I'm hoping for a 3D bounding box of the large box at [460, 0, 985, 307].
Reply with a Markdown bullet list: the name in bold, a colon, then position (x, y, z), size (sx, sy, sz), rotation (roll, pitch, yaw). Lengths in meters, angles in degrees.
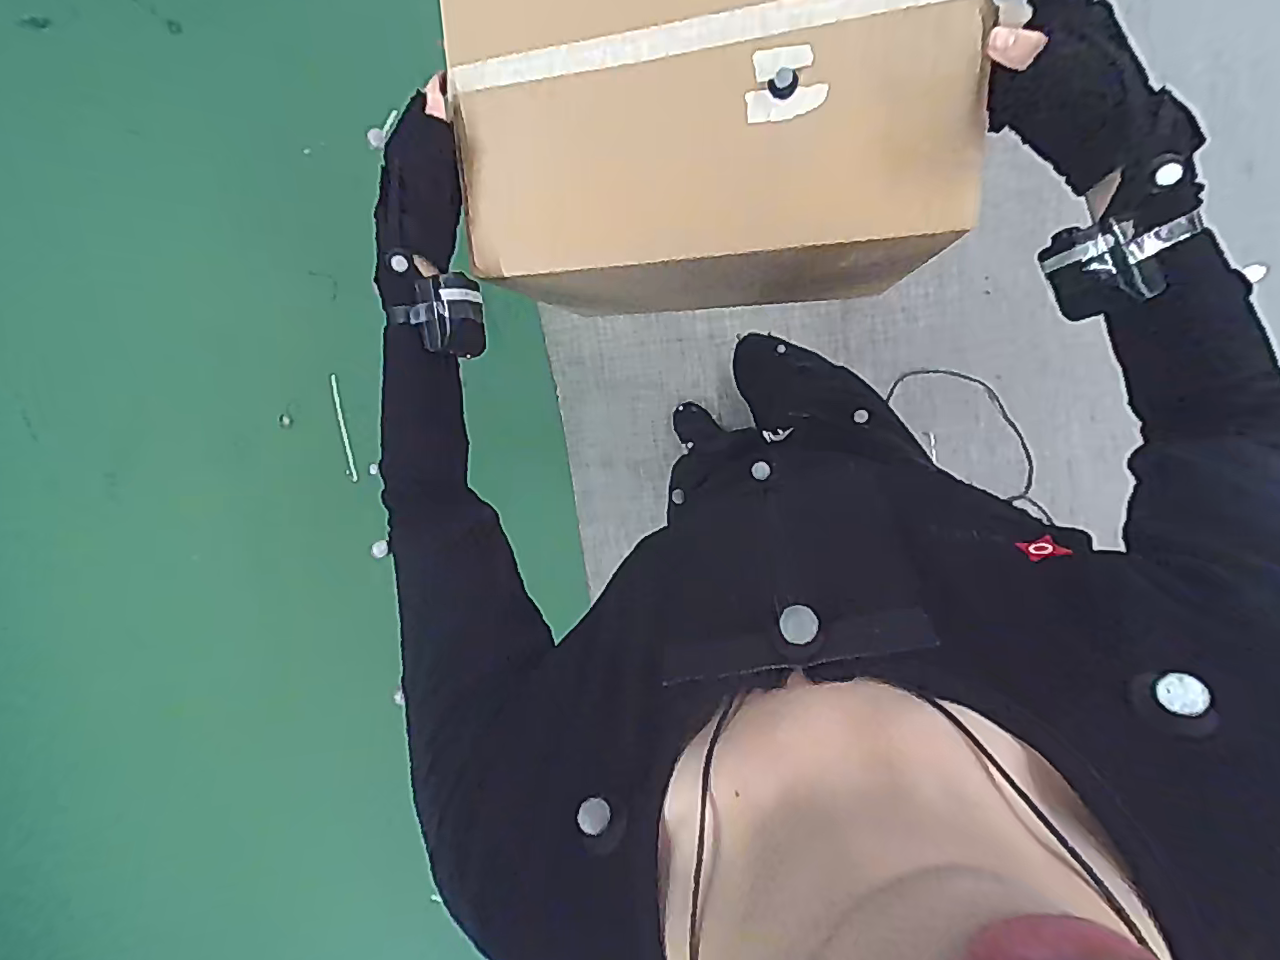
- **large box**: position (0.073, -0.373, 0.558), size (0.408, 0.320, 0.320), rotation (-1, 101, 11)
